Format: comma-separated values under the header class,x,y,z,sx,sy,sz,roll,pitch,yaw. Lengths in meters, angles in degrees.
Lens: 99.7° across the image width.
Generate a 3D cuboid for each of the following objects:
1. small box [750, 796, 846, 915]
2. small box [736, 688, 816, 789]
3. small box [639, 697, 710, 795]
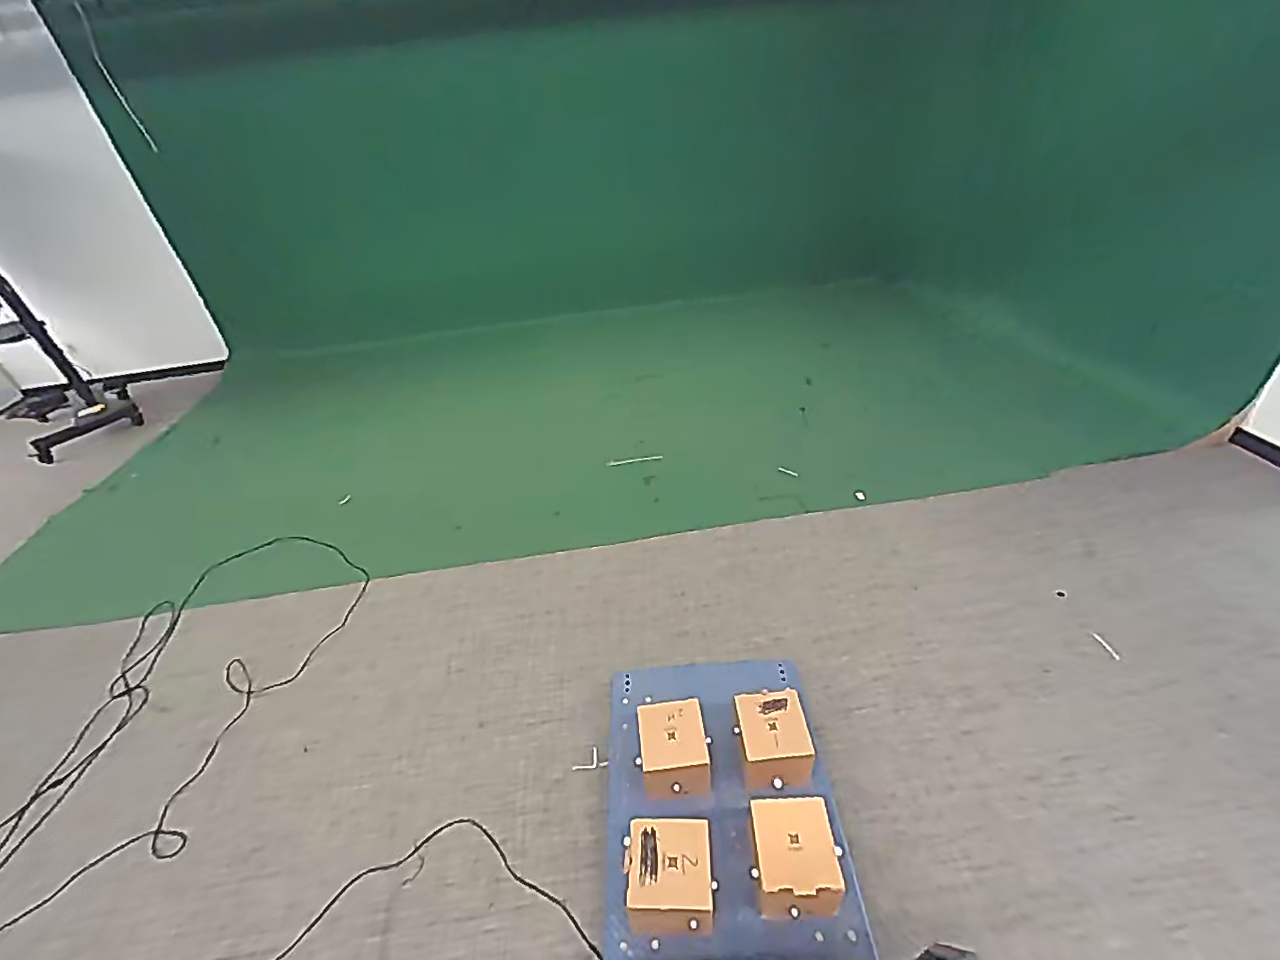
class,x,y,z,sx,sy,sz,roll,pitch,yaw
small box,0.340,0.834,1.202,0.168,0.176,0.179,-4,37,3
small box,0.346,0.674,1.411,0.168,0.176,0.179,-7,37,2
small box,0.090,0.702,1.417,0.168,0.176,0.179,-6,36,-1
